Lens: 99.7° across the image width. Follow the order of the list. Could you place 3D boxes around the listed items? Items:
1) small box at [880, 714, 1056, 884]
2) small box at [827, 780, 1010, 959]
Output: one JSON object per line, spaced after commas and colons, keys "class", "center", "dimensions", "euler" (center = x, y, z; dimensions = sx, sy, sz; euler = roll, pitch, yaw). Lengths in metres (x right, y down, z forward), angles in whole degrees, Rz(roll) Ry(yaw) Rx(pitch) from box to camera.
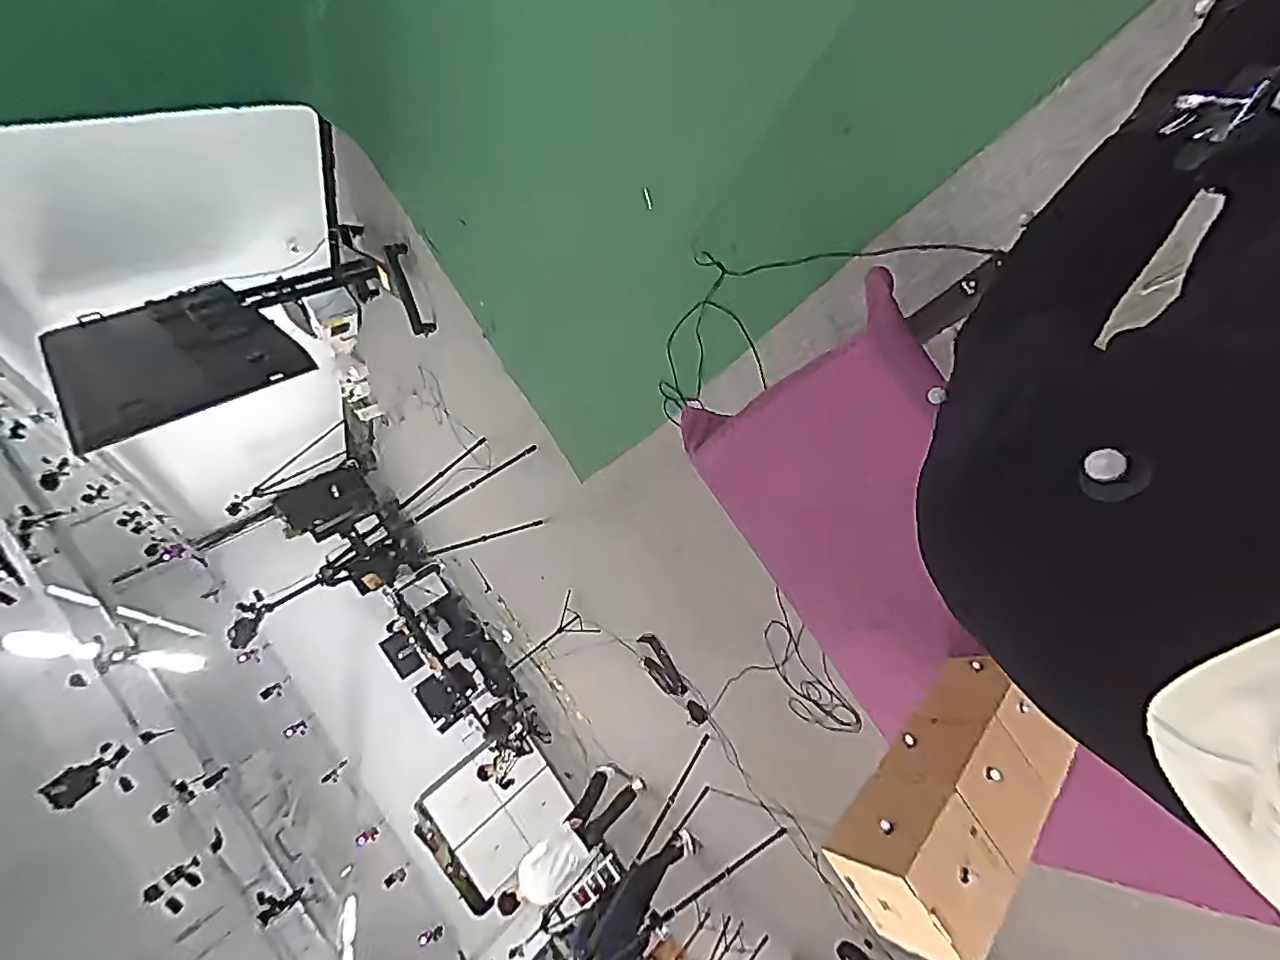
{"class": "small box", "center": [0.562, 0.529, 0.931], "dimensions": [0.179, 0.176, 0.168], "euler": [56, 149, 3]}
{"class": "small box", "center": [0.442, 0.605, 0.851], "dimensions": [0.168, 0.176, 0.179], "euler": [56, 148, 4]}
